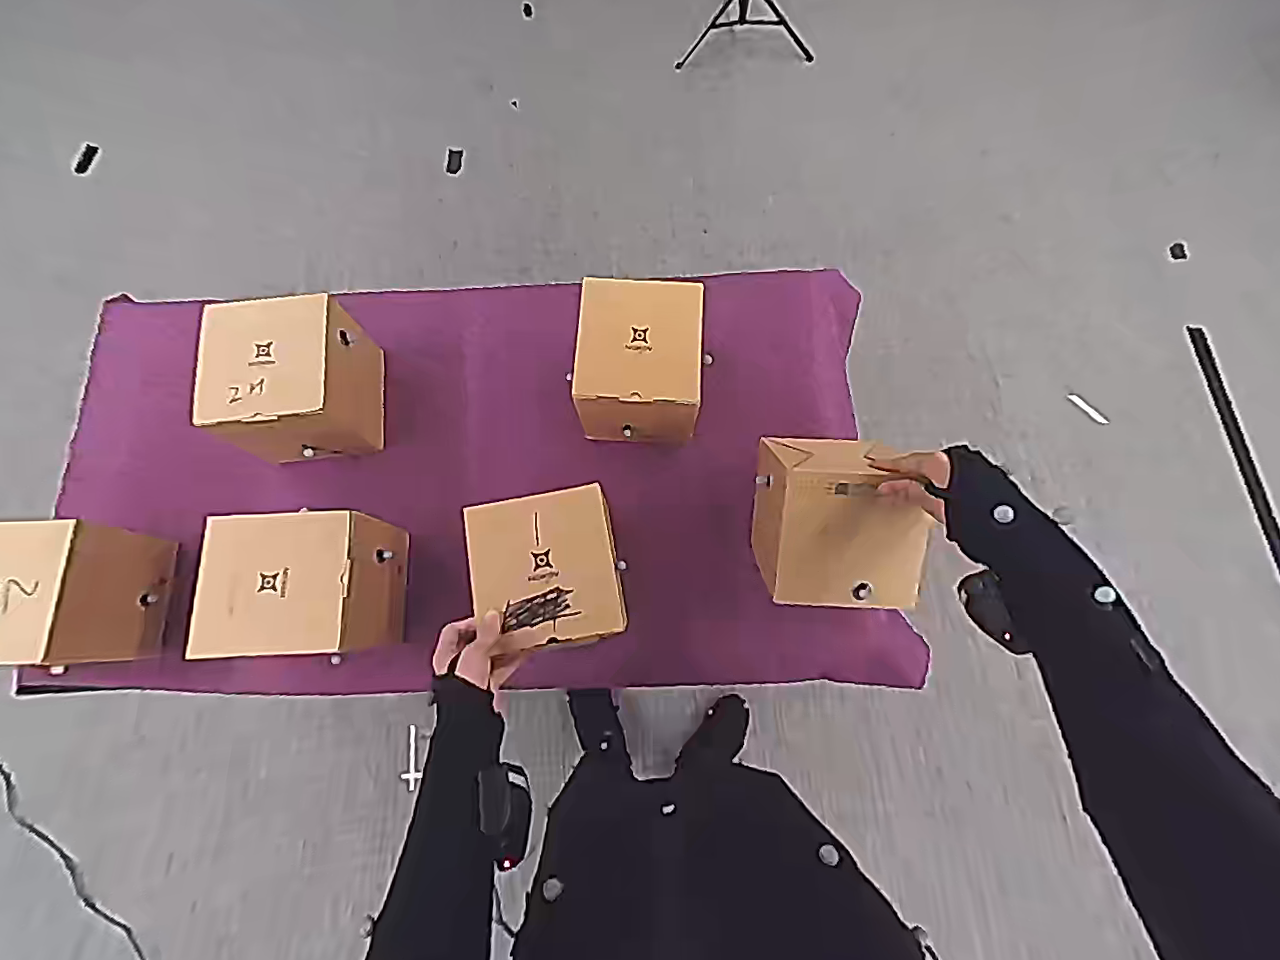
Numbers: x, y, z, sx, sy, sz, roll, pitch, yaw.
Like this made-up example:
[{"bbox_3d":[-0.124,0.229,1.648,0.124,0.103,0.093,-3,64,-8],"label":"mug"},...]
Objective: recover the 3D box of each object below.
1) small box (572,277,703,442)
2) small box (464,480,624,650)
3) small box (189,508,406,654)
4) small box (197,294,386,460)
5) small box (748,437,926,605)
[{"bbox_3d":[-0.001,-0.168,0.791,0.168,0.176,0.179,3,76,2],"label":"small box"},{"bbox_3d":[-0.115,0.112,0.706,0.168,0.176,0.179,-10,77,-3],"label":"small box"},{"bbox_3d":[-0.425,0.135,0.706,0.179,0.176,0.168,-2,74,-1],"label":"small box"},{"bbox_3d":[-0.489,-0.142,0.786,0.168,0.176,0.179,-6,75,-1],"label":"small box"},{"bbox_3d":[0.240,0.040,0.691,0.168,0.179,0.176,2,106,2],"label":"small box"}]
